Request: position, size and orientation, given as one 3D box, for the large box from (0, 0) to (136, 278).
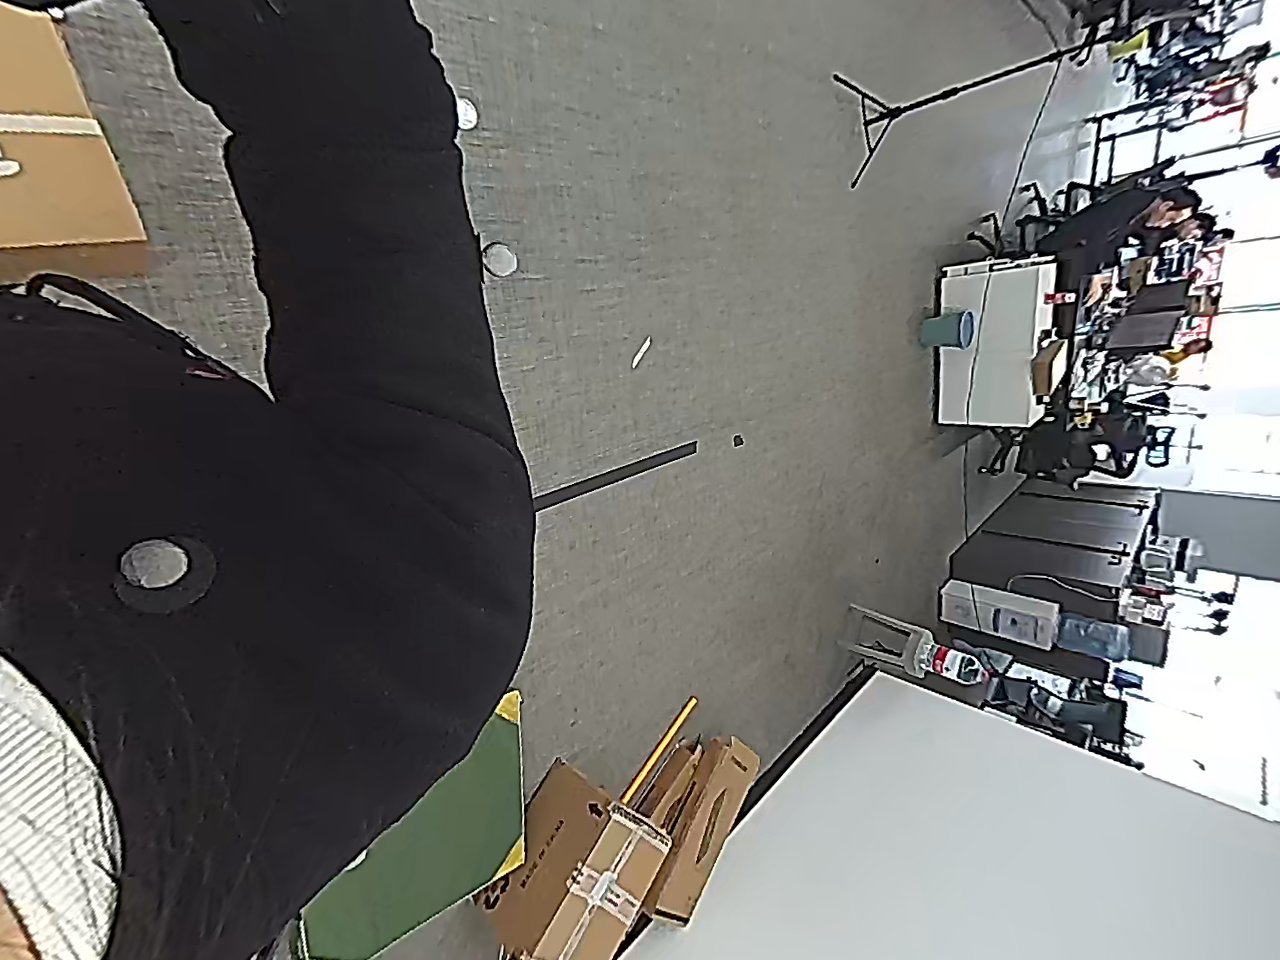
[{"bbox_3d":[-1.066,-0.480,0.795,0.408,0.320,0.320,-25,114,-38],"label":"large box"}]
